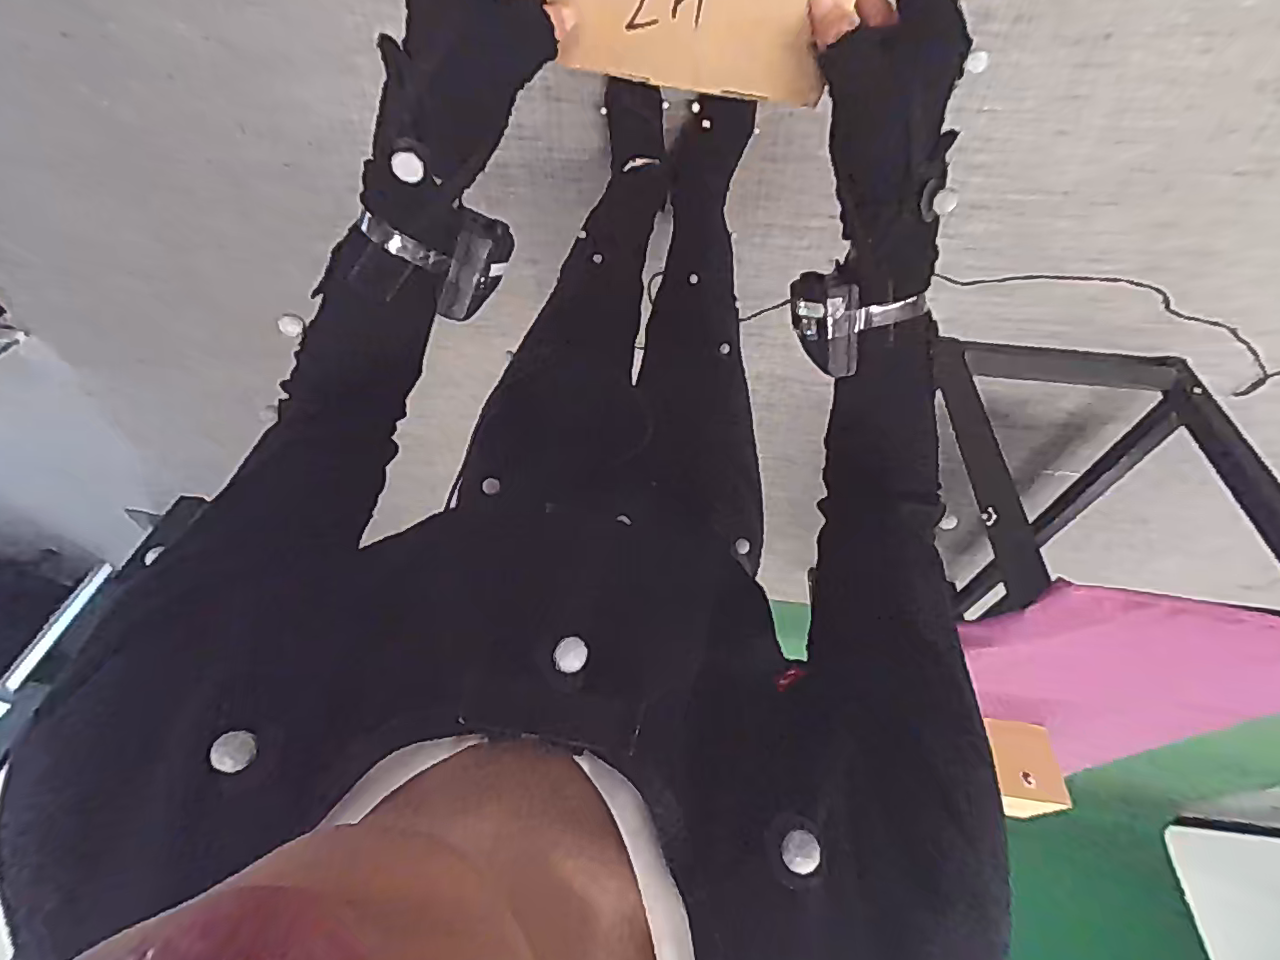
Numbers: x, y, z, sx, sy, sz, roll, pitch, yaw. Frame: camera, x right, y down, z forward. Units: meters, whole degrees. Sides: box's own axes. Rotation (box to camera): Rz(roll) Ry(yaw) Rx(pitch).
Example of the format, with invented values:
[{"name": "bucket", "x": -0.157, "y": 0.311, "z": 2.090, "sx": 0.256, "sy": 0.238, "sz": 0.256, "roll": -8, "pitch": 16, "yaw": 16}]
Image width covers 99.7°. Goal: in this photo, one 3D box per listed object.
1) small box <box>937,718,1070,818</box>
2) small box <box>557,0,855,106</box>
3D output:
[{"name": "small box", "x": 0.828, "y": 0.667, "z": 1.253, "sx": 0.179, "sy": 0.176, "sz": 0.168, "roll": 9, "pitch": 141, "yaw": 1}, {"name": "small box", "x": 0.048, "y": -0.356, "z": 0.299, "sx": 0.168, "sy": 0.176, "sz": 0.179, "roll": 9, "pitch": 150, "yaw": -2}]
